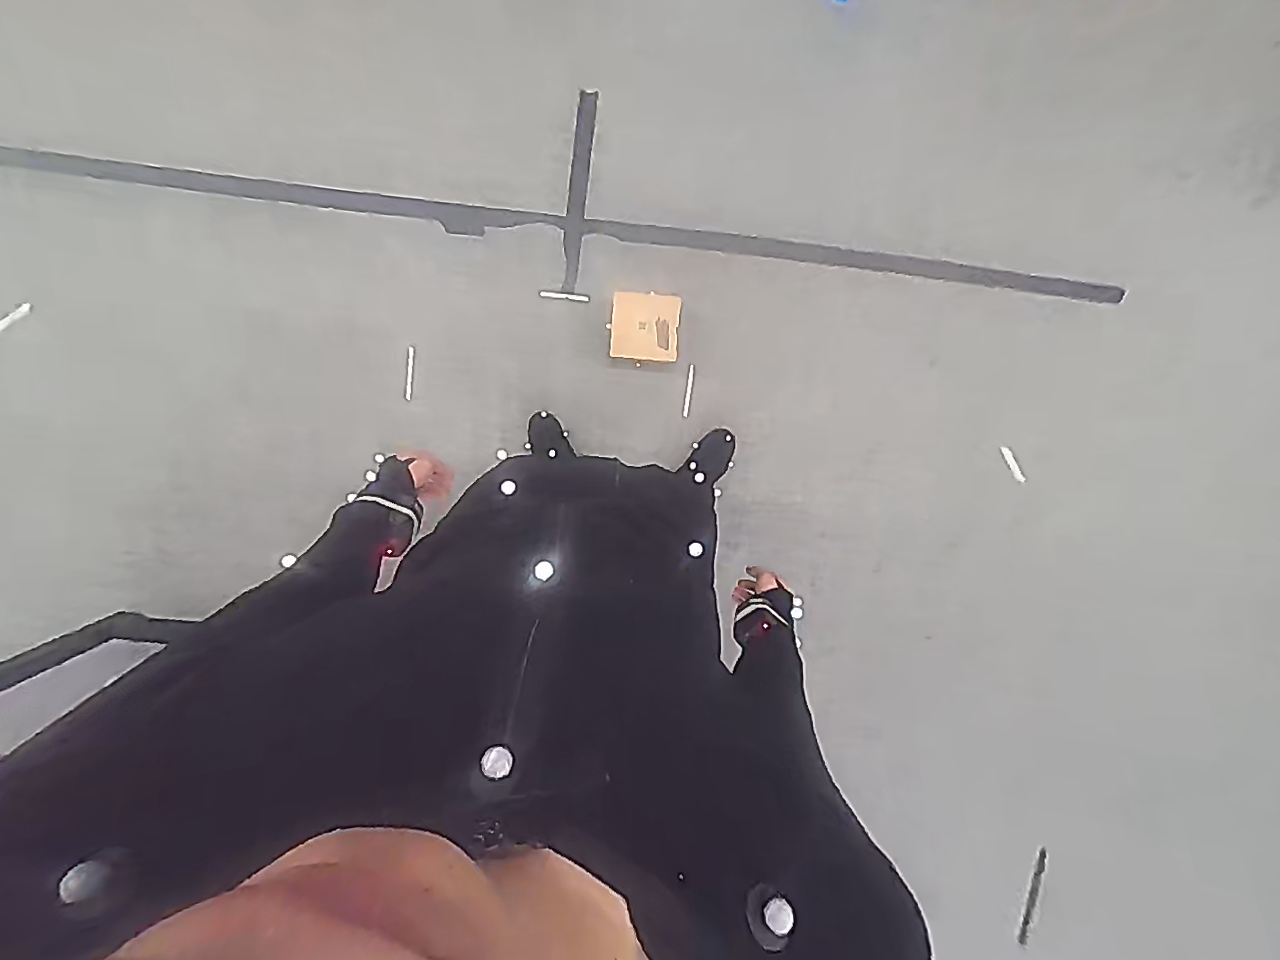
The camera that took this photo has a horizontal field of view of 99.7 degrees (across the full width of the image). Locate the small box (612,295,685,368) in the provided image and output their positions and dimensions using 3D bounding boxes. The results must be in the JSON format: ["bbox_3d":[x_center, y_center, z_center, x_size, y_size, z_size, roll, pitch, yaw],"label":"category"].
[{"bbox_3d":[0.019,-0.398,1.473,0.179,0.176,0.168,5,99,-2],"label":"small box"}]
